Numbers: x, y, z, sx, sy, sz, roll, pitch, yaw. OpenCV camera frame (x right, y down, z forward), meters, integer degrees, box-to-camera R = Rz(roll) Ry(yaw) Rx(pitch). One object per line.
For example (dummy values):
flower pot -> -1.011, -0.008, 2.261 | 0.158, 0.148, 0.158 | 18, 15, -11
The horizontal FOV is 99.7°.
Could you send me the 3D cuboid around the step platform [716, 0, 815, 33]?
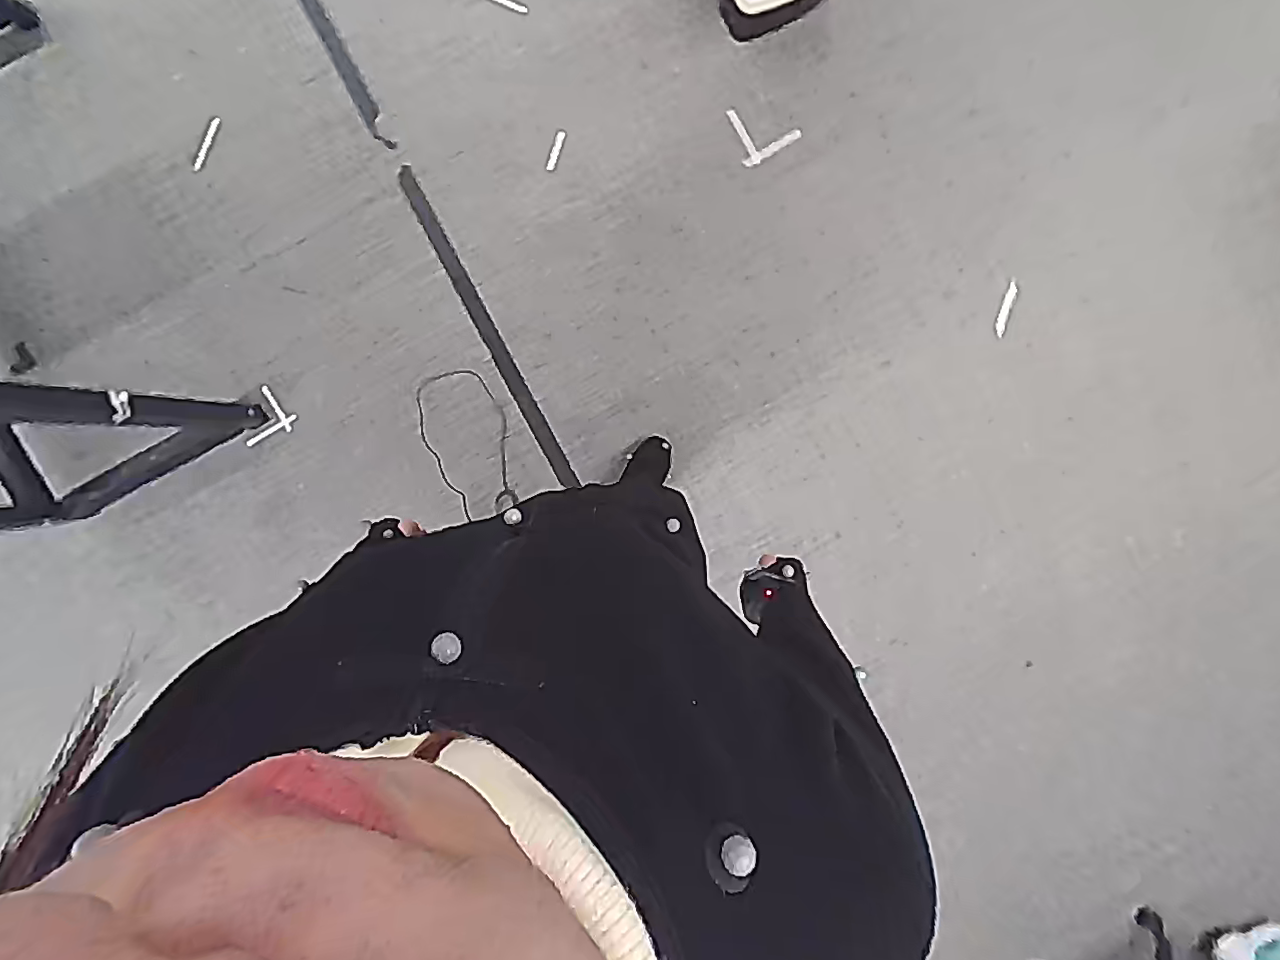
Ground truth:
step platform -> 0.242, -1.520, 1.309 | 0.286, 0.204, 0.684 | -22, 93, 0
